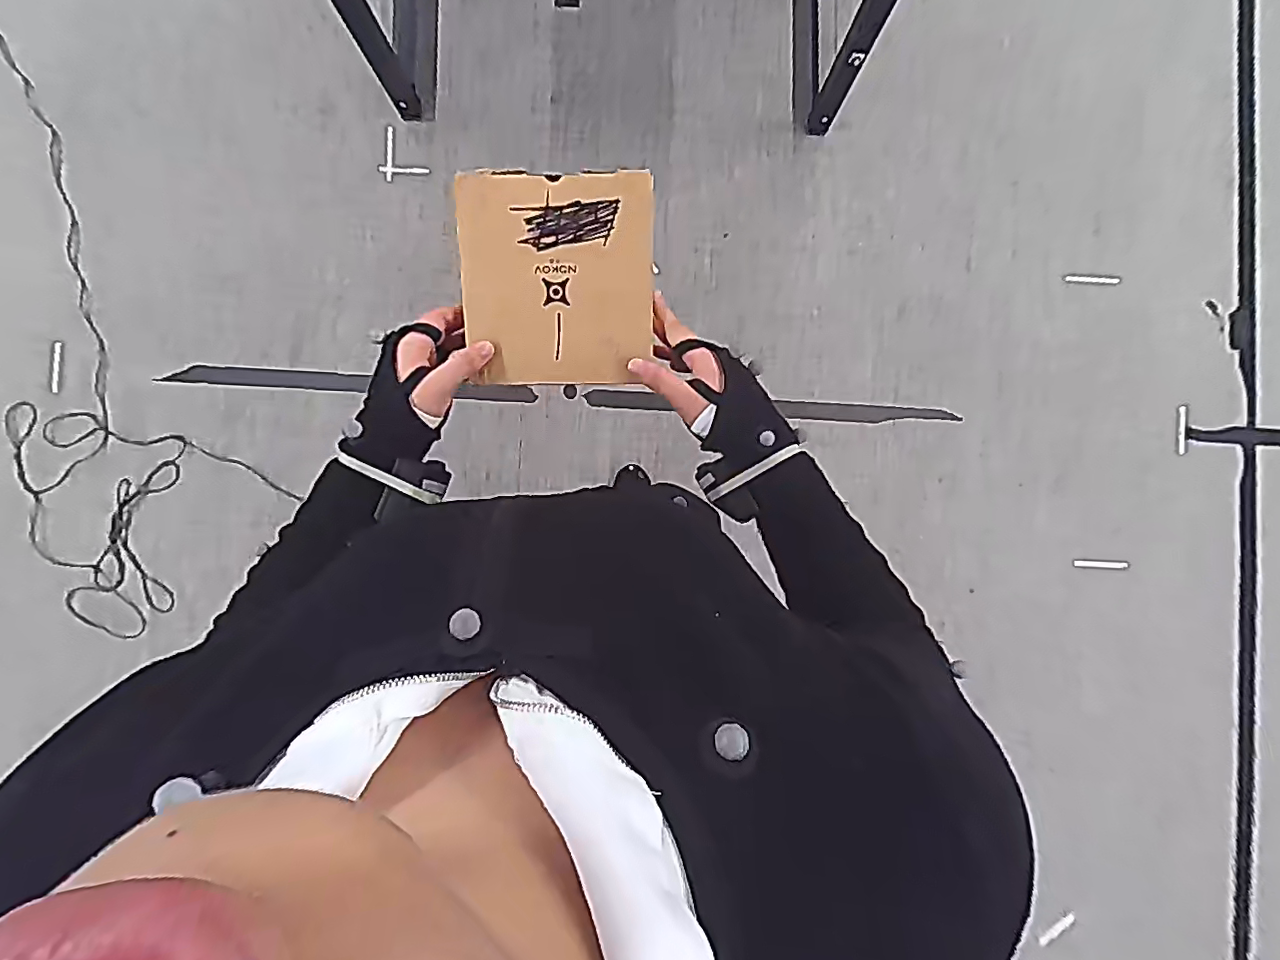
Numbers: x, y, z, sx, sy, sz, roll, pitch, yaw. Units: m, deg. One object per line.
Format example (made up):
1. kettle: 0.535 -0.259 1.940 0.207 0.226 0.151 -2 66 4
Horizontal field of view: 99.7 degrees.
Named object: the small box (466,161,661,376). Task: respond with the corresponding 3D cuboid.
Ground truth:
1. small box: -0.066 -0.195 0.544 0.168 0.176 0.179 0 102 0
